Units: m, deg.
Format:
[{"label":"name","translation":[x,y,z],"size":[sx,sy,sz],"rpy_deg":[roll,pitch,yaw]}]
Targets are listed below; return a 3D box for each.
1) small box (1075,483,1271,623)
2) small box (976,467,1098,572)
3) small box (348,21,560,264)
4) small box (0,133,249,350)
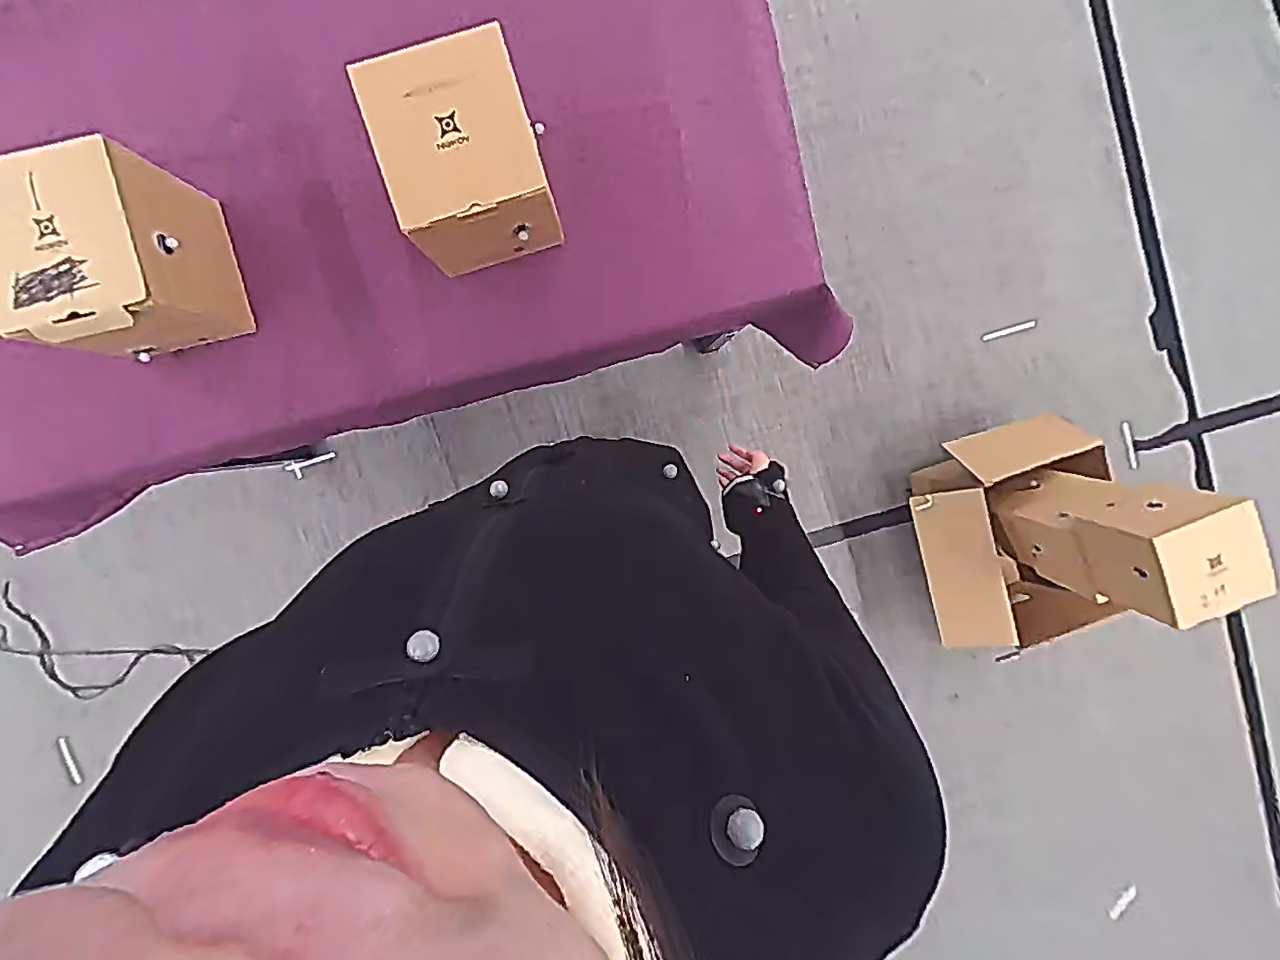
[{"label":"small box","translation":[0.925,0.116,0.956],"size":[0.168,0.176,0.179],"rpy_deg":[-23,99,4]},{"label":"small box","translation":[0.951,0.083,1.284],"size":[0.168,0.176,0.179],"rpy_deg":[-38,99,5]},{"label":"small box","translation":[-0.202,-0.376,0.644],"size":[0.168,0.176,0.179],"rpy_deg":[-17,95,-1]},{"label":"small box","translation":[-0.609,-0.259,0.636],"size":[0.168,0.176,0.179],"rpy_deg":[-14,95,-1]}]
